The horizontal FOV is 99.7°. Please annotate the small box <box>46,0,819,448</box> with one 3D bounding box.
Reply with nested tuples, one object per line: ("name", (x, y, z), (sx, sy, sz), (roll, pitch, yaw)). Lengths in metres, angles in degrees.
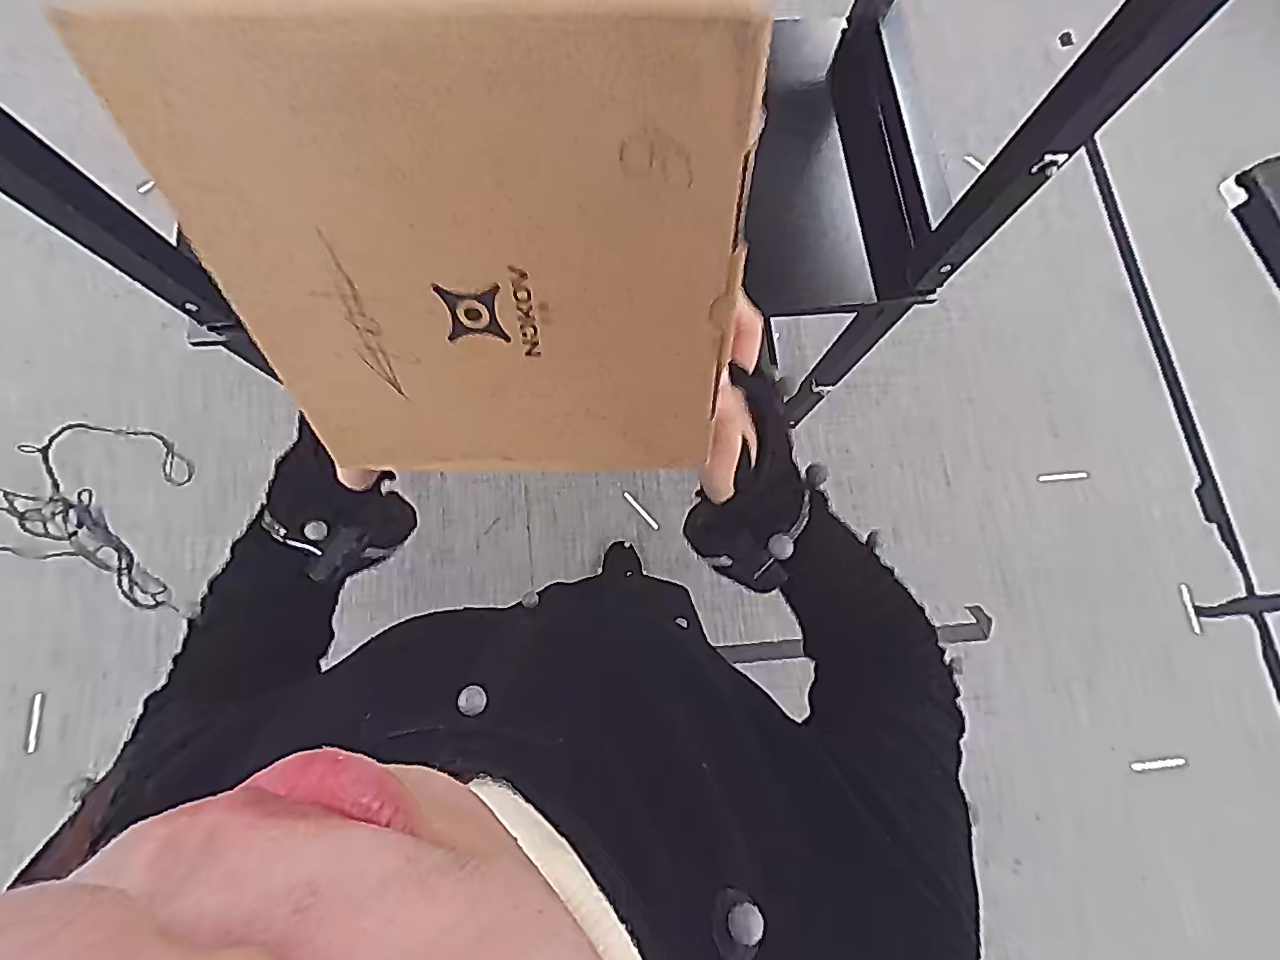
("small box", (-0.047, -0.130, 0.224), (0.179, 0.168, 0.176), (0, 51, 0))
